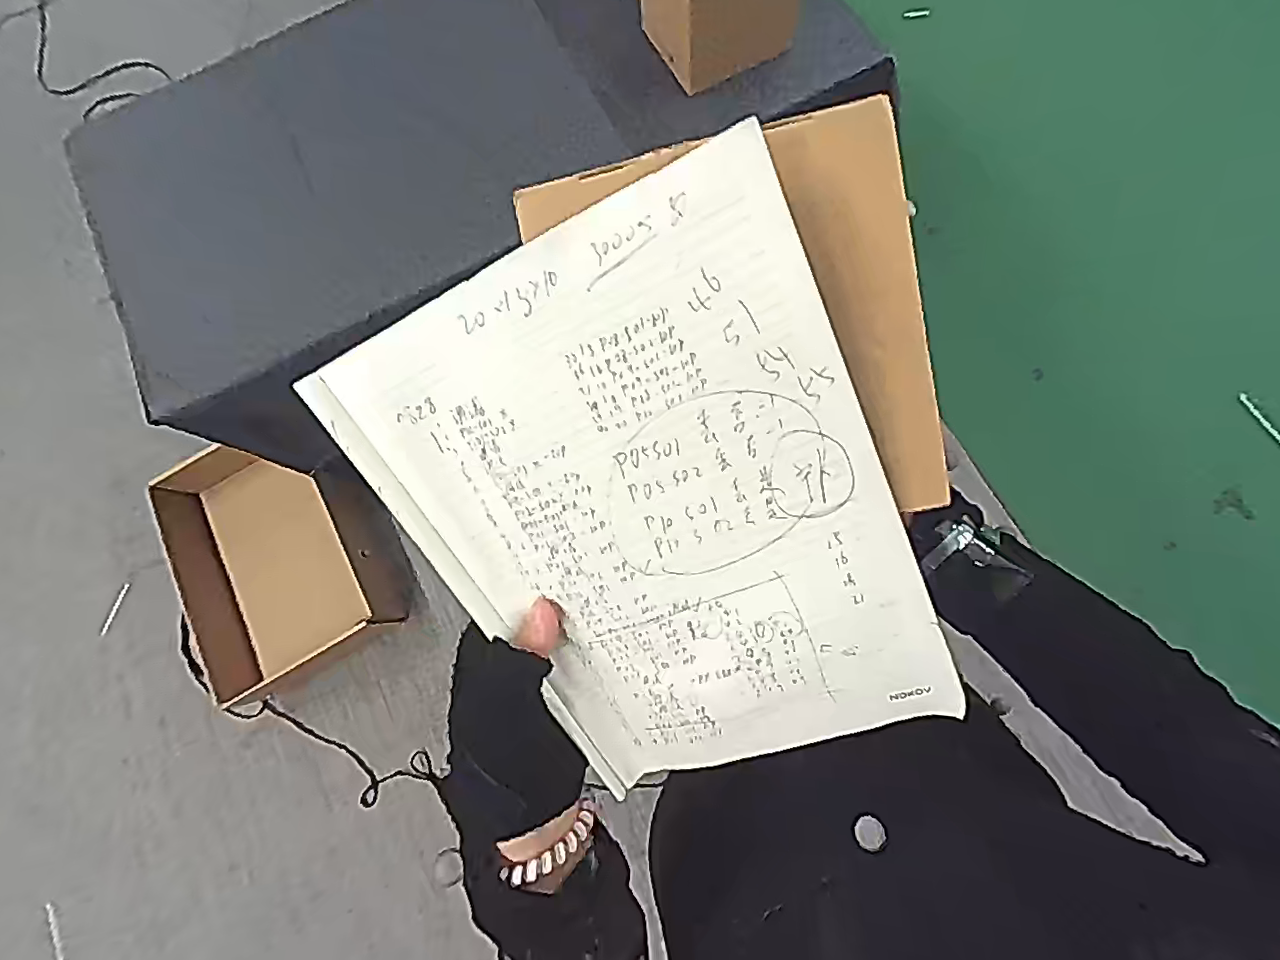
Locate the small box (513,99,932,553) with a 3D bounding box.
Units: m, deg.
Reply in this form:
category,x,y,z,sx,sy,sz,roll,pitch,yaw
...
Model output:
category,x,y,z,sx,sy,sz,roll,pitch,yaw
small box,0.046,-0.068,0.321,0.168,0.176,0.179,-10,92,8
